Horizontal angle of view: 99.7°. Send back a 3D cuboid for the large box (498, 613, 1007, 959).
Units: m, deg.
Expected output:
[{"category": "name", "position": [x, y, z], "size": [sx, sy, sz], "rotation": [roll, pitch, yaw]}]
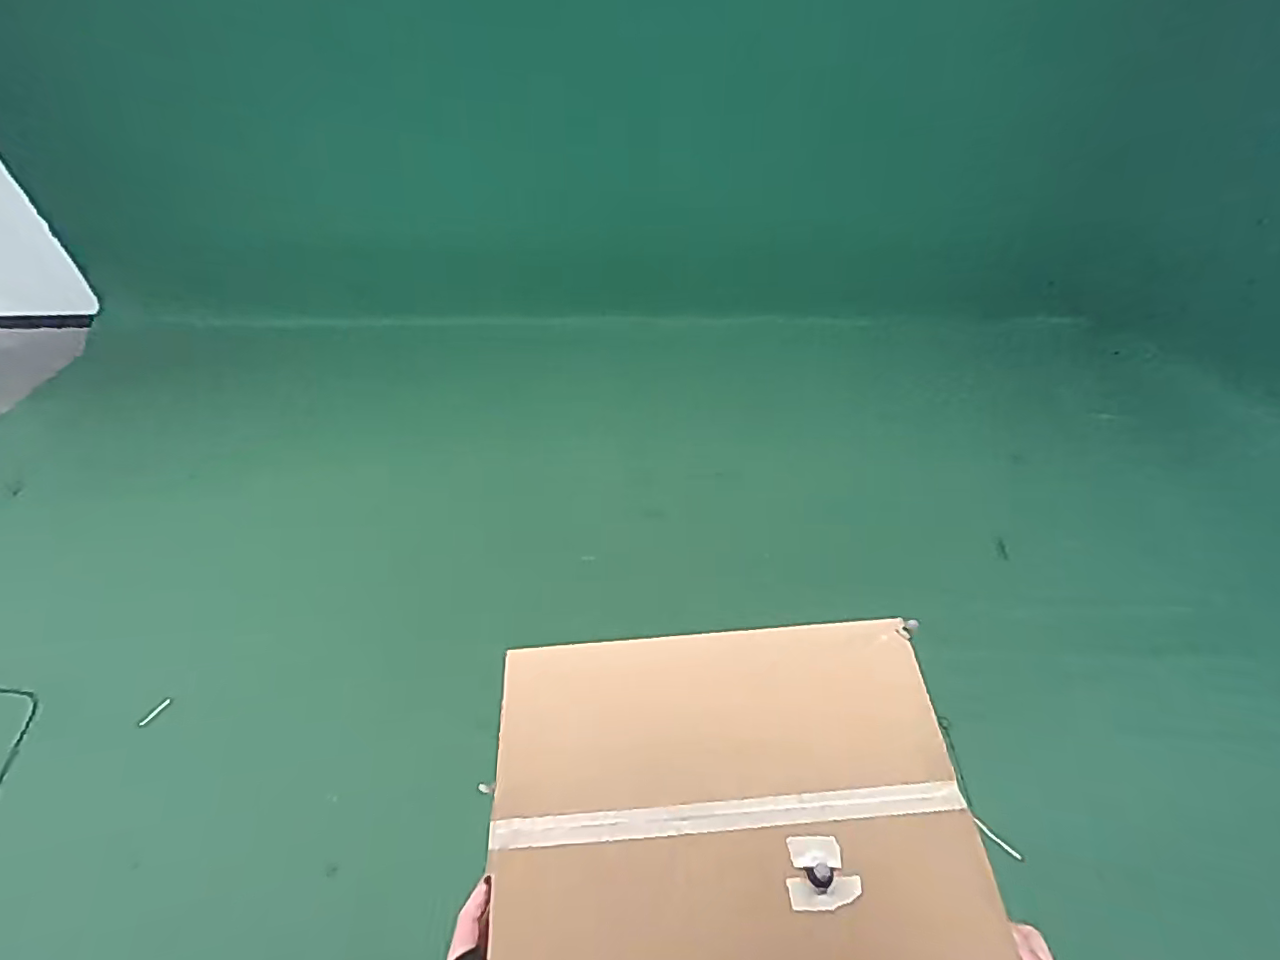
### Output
[{"category": "large box", "position": [0.080, 0.366, 0.606], "size": [0.408, 0.320, 0.320], "rotation": [-5, 58, 0]}]
